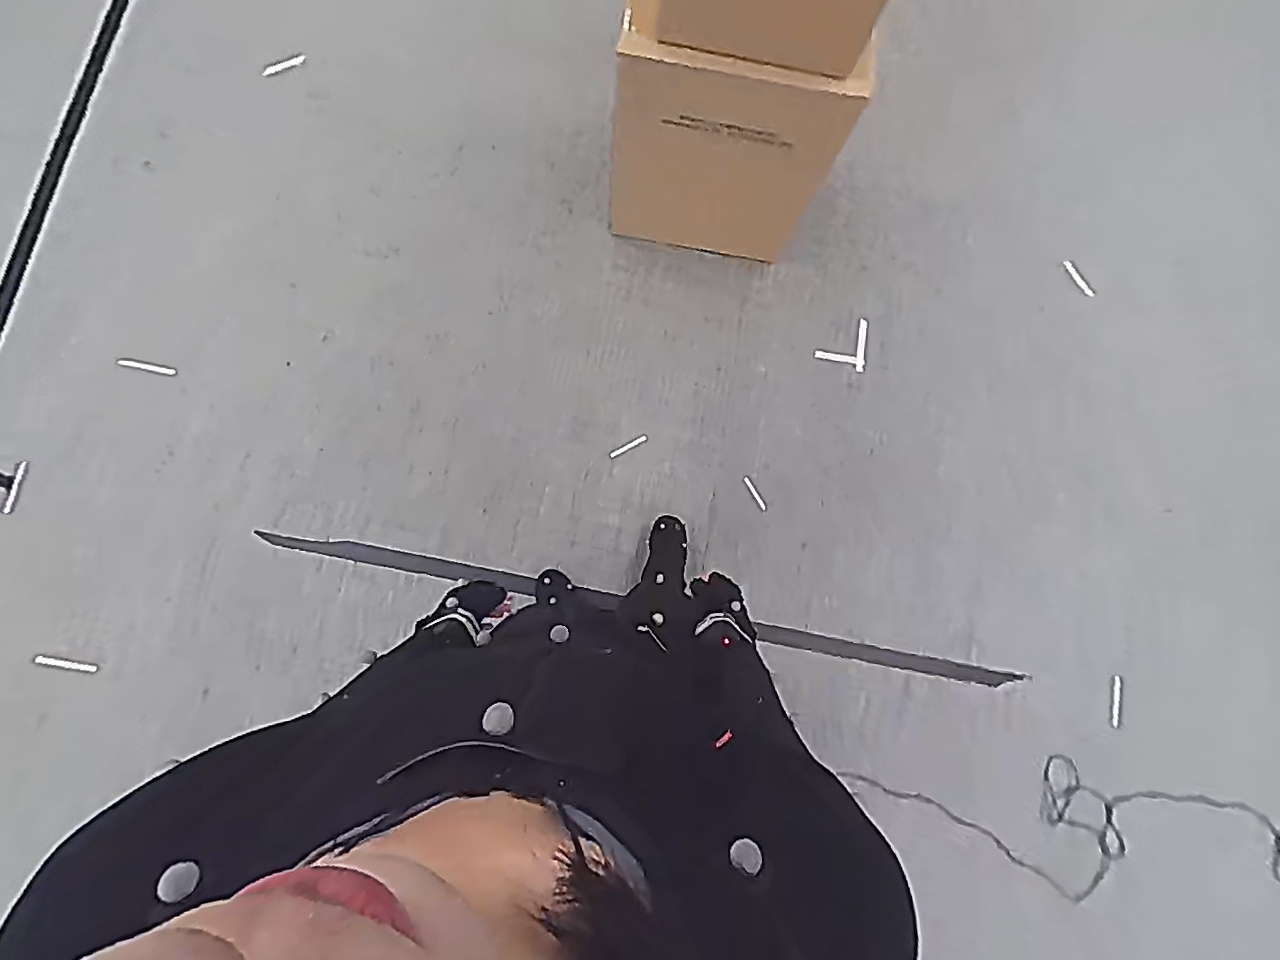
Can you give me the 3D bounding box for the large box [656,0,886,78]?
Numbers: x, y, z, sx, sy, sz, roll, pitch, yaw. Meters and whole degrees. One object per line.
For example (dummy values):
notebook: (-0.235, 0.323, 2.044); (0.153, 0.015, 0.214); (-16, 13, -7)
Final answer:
large box: (0.255, -1.012, 0.972); (0.408, 0.320, 0.320); (8, 82, -4)
